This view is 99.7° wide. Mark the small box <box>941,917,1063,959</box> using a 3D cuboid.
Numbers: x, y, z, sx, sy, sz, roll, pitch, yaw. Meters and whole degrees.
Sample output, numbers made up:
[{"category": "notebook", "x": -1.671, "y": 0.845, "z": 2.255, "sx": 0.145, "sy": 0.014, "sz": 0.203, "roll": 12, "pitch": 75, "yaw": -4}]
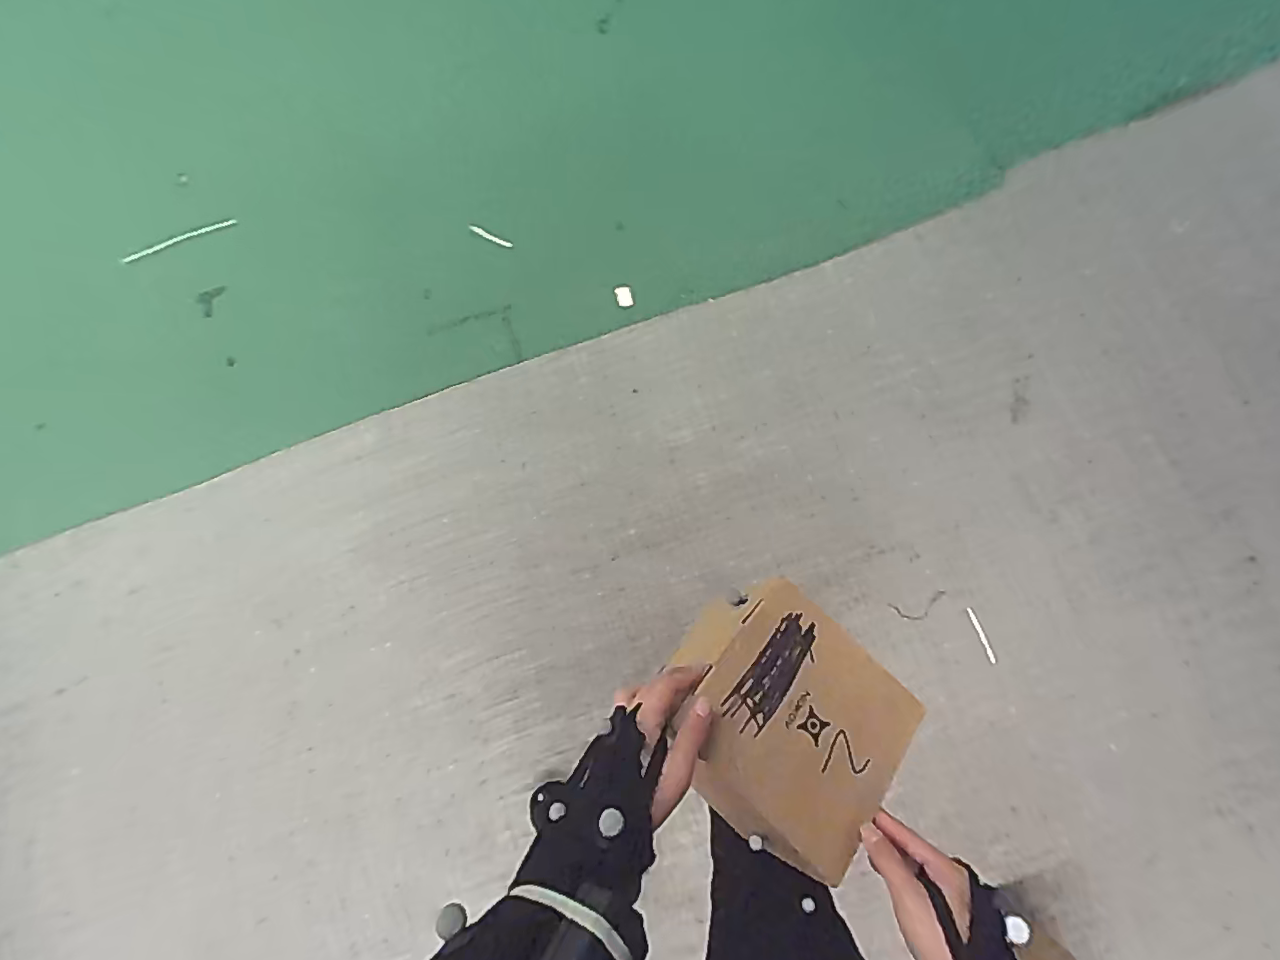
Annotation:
[{"category": "small box", "x": 0.630, "y": 0.868, "z": 0.875, "sx": 0.168, "sy": 0.176, "sz": 0.179, "roll": -17, "pitch": 78, "yaw": 2}]
